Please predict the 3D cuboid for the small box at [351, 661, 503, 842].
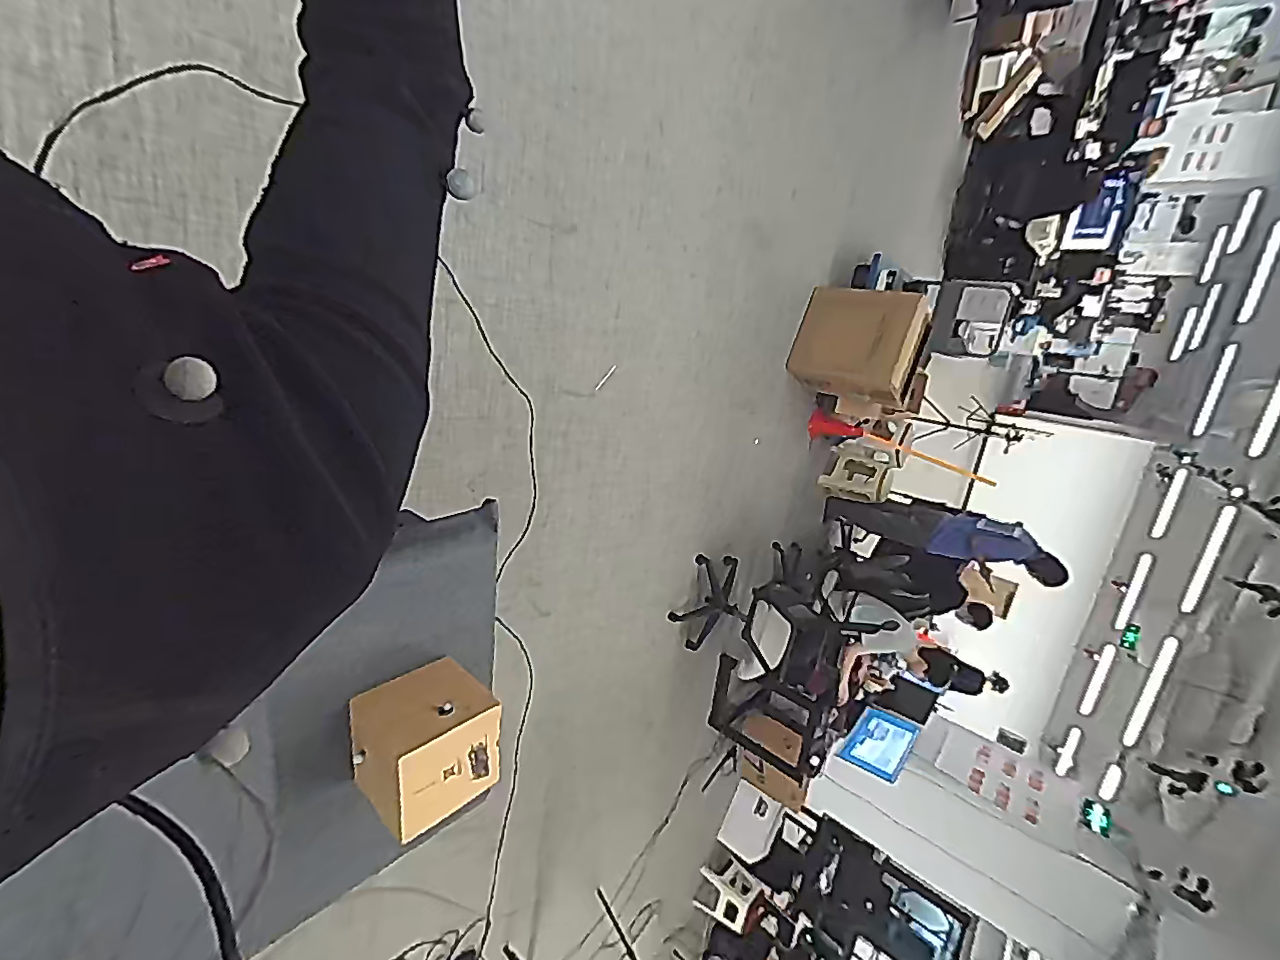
[{"bbox_3d":[-0.351,0.433,0.899,0.179,0.176,0.168,-14,116,-47],"label":"small box"}]
